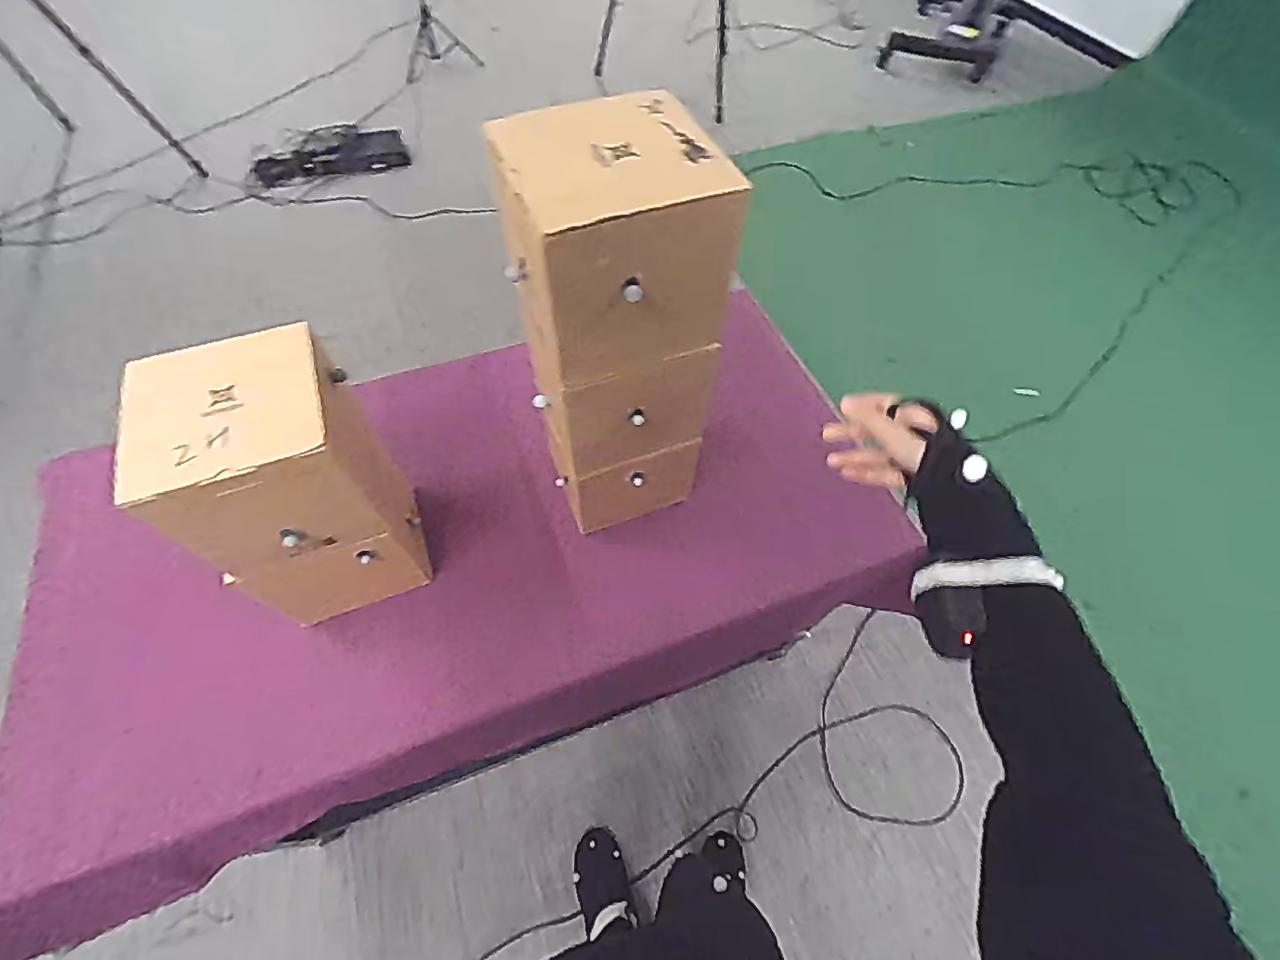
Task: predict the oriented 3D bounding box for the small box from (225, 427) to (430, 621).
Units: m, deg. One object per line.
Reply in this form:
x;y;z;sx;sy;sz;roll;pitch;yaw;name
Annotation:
-0.402;0.063;0.711;0.179;0.176;0.168;-19;61;-13;small box

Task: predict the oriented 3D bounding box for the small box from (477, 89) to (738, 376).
-0.031;-0.225;0.512;0.179;0.176;0.168;-20;63;-12;small box

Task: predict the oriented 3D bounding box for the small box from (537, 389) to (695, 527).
-0.036;-0.053;0.792;0.179;0.176;0.168;-18;62;-13;small box

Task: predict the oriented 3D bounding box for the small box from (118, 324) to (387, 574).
-0.391;-0.029;0.574;0.168;0.176;0.179;-19;61;-13;small box

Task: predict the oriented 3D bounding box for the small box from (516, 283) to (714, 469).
-0.033;-0.139;0.652;0.179;0.176;0.168;-19;62;-12;small box
